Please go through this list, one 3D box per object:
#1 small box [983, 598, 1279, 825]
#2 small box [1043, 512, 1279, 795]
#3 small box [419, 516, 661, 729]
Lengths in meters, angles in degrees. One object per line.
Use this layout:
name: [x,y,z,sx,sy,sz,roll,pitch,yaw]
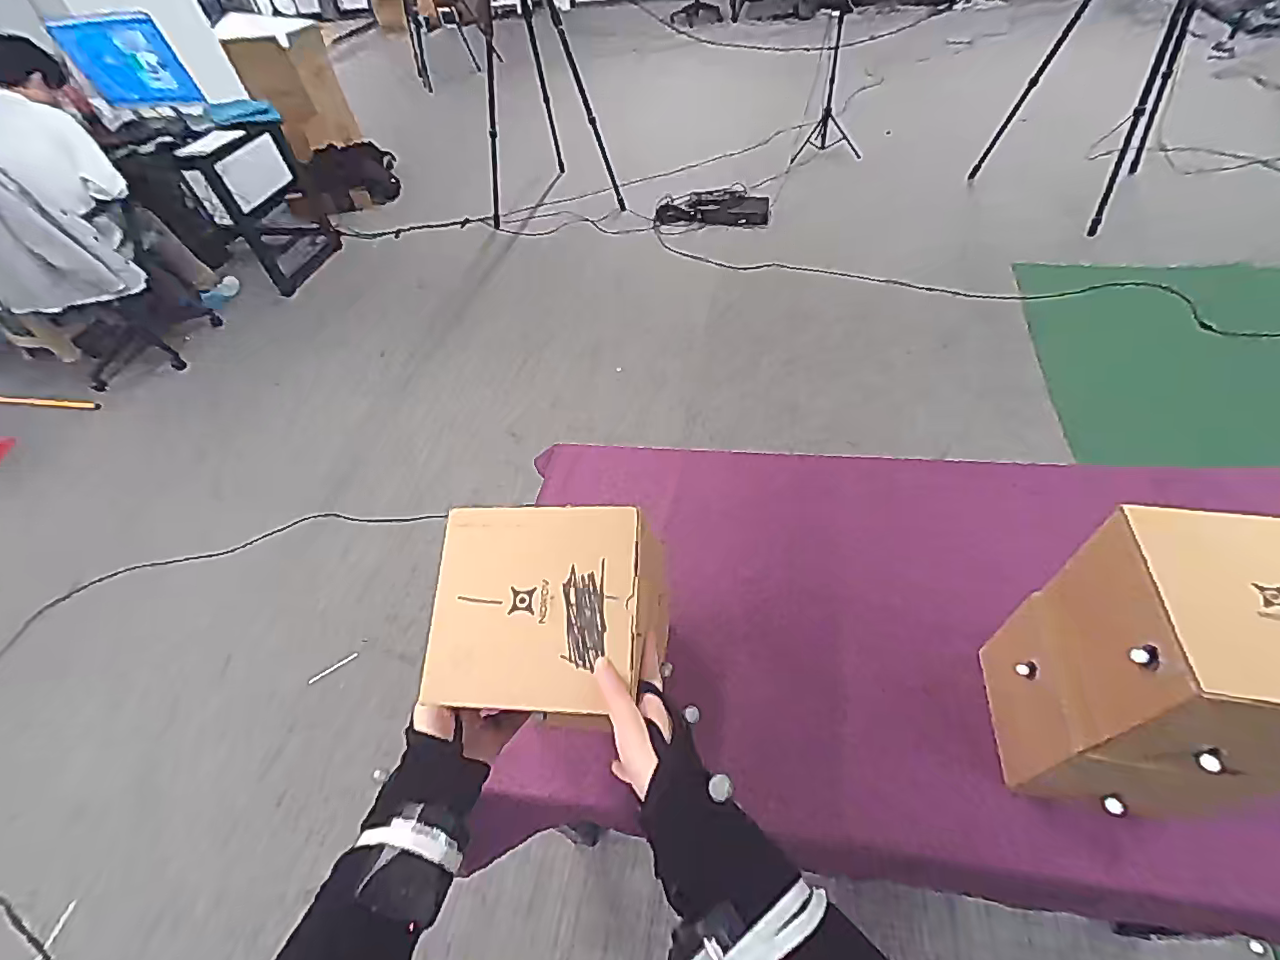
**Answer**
small box: [0.515,0.259,0.606,0.168,0.176,0.179,5,51,12]
small box: [0.502,0.154,0.482,0.168,0.176,0.179,6,52,12]
small box: [-0.075,0.134,0.513,0.179,0.176,0.168,-1,70,10]
